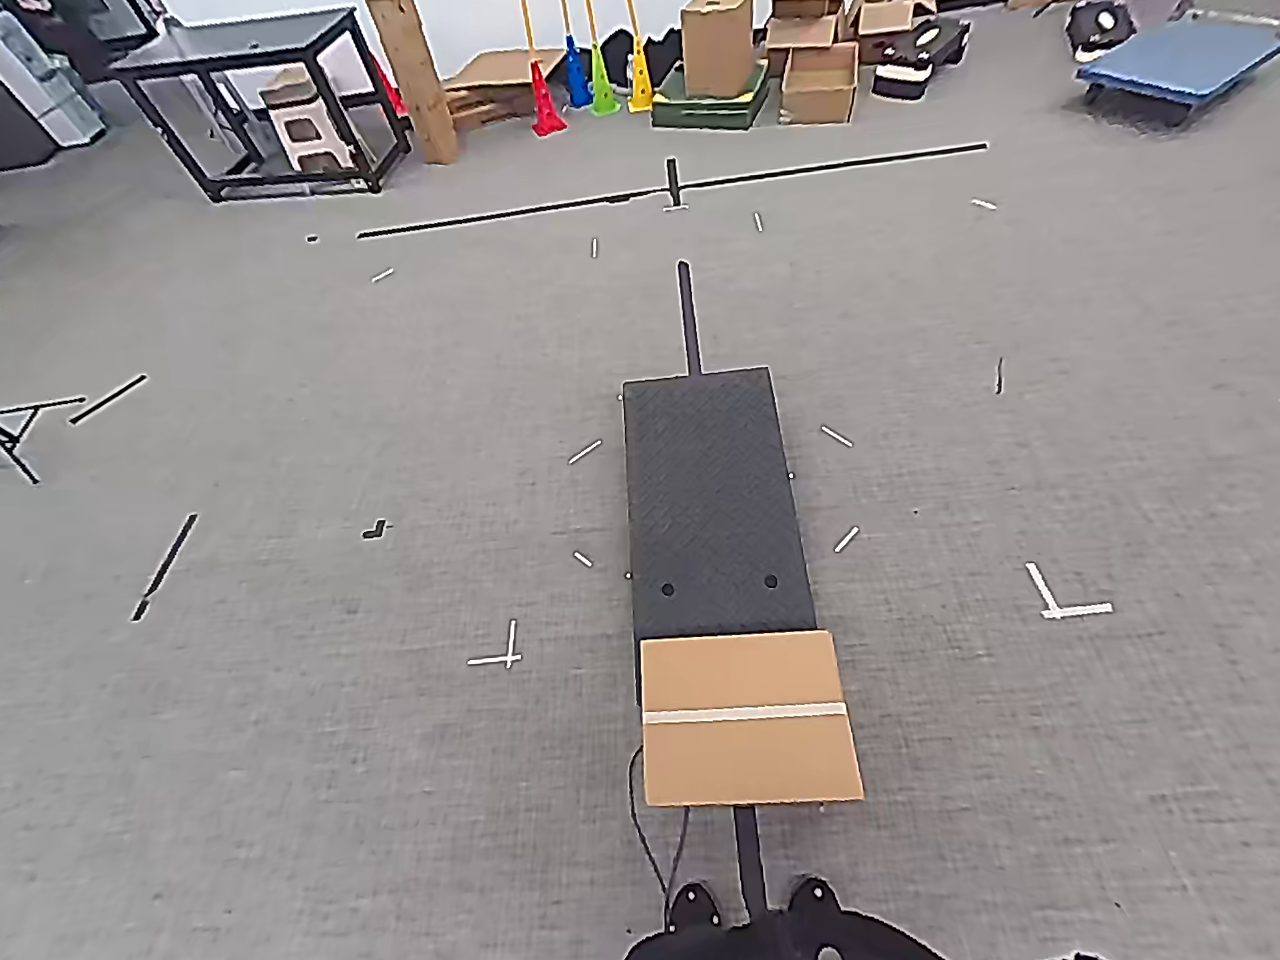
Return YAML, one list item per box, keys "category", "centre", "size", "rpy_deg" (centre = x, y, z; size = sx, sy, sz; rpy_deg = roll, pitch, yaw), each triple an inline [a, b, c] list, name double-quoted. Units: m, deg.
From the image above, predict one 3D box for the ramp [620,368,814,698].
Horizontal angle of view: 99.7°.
- category: "ramp"
  centre: [0.204, 0.100, 1.605]
  size: [0.509, 0.206, 0.991]
  rpy_deg: [-6, 55, 2]

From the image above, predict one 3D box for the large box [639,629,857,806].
- category: "large box"
  centre: [0.217, 0.541, 1.213]
  size: [0.408, 0.320, 0.320]
  rpy_deg: [-5, 58, 4]
